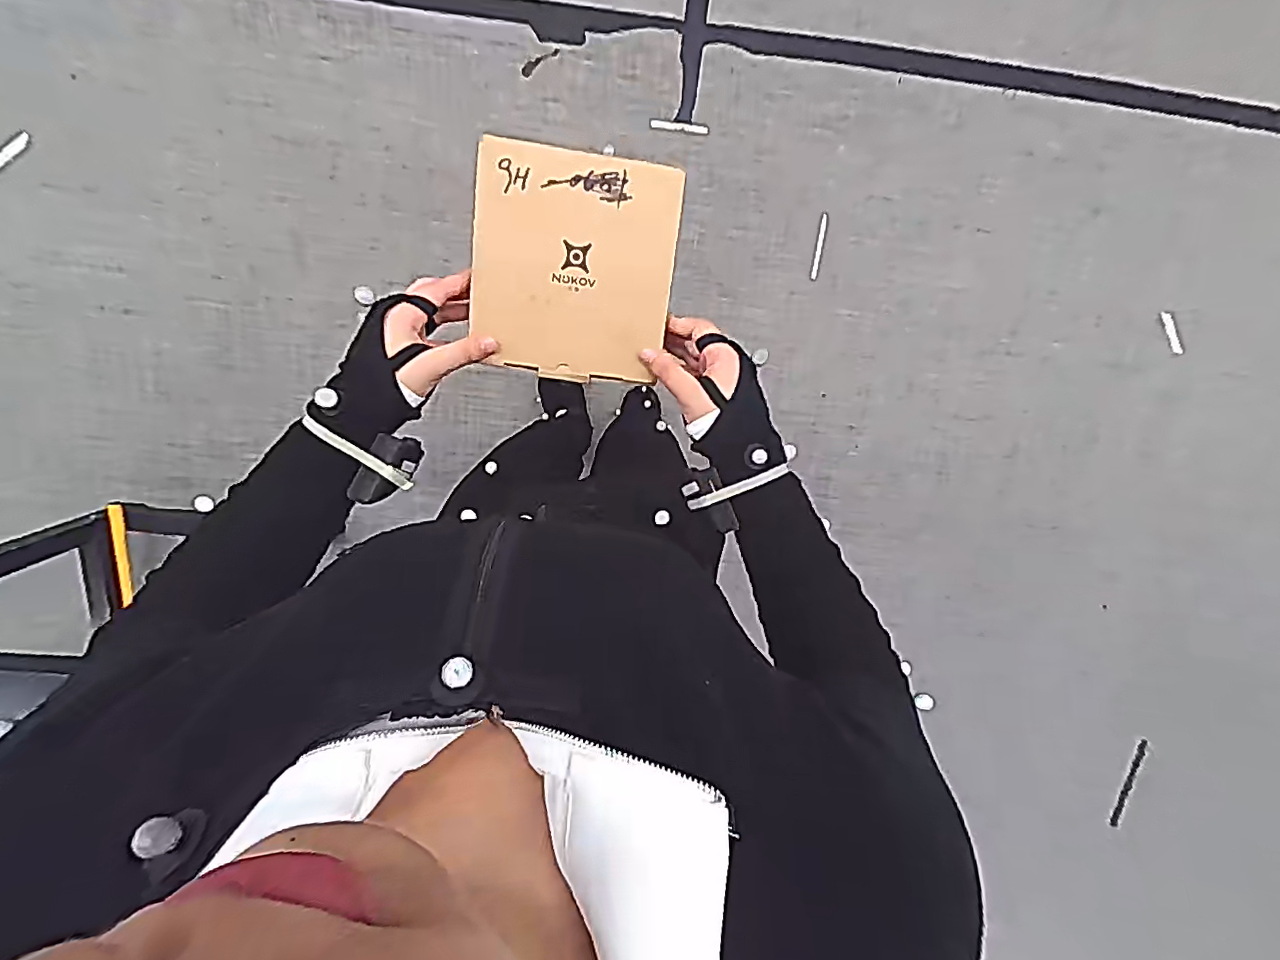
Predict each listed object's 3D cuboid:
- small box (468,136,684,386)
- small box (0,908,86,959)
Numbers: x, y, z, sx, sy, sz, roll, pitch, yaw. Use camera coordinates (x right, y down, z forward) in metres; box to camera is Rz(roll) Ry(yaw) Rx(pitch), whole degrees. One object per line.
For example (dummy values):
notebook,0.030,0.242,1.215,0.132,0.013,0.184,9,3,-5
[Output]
small box,-0.060,-0.197,0.525,0.168,0.176,0.179,6,105,-6
small box,-1.002,0.786,0.812,0.179,0.176,0.168,9,105,-5
